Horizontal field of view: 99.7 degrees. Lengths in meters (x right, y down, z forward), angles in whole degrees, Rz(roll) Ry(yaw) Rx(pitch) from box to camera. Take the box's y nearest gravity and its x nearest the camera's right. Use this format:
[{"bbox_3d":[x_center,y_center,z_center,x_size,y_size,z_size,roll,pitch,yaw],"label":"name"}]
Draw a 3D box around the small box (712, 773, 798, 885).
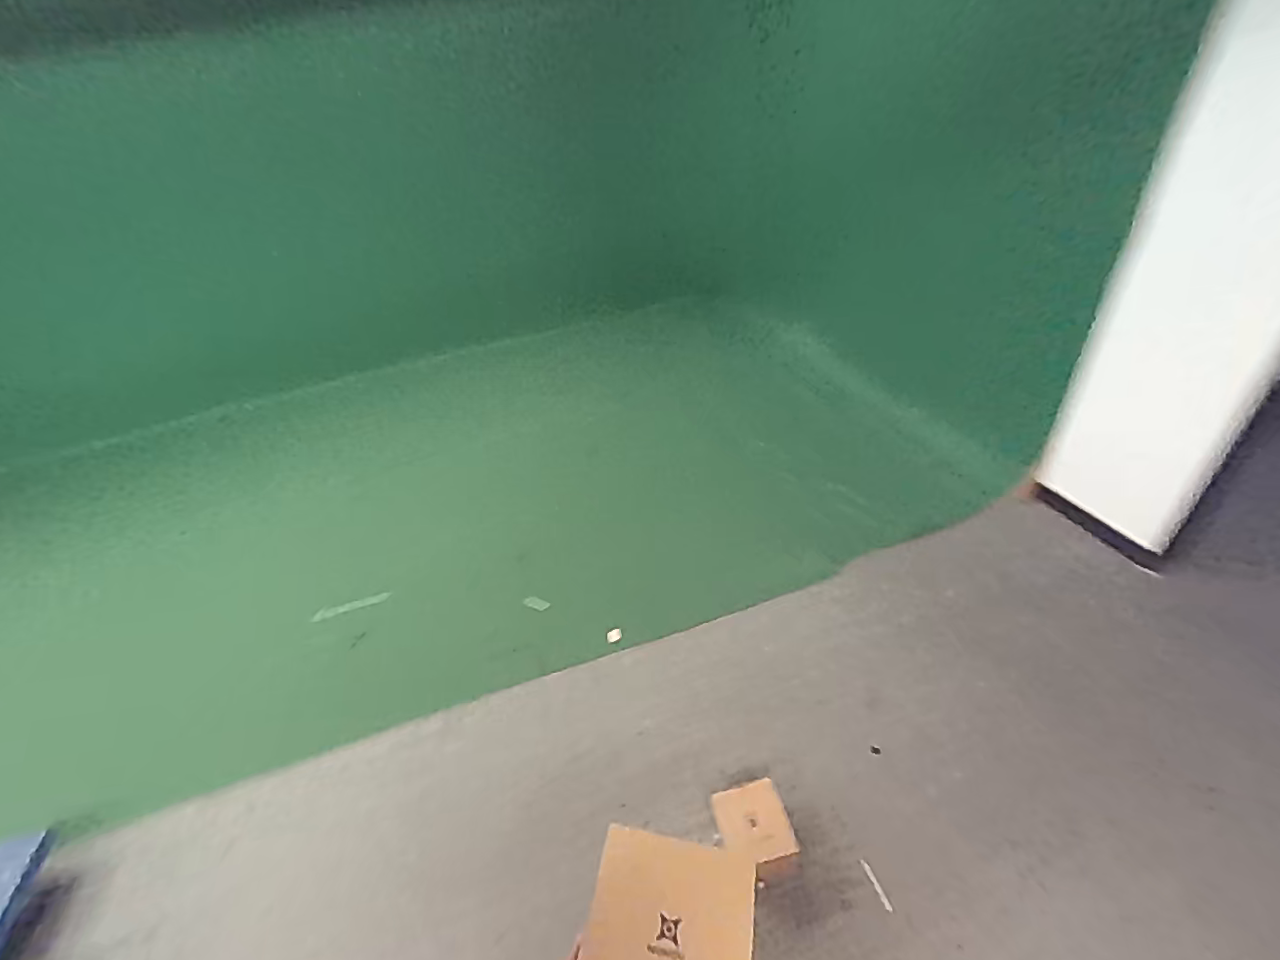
[{"bbox_3d":[0.287,0.888,1.373,0.168,0.176,0.179,-13,38,-3],"label":"small box"}]
